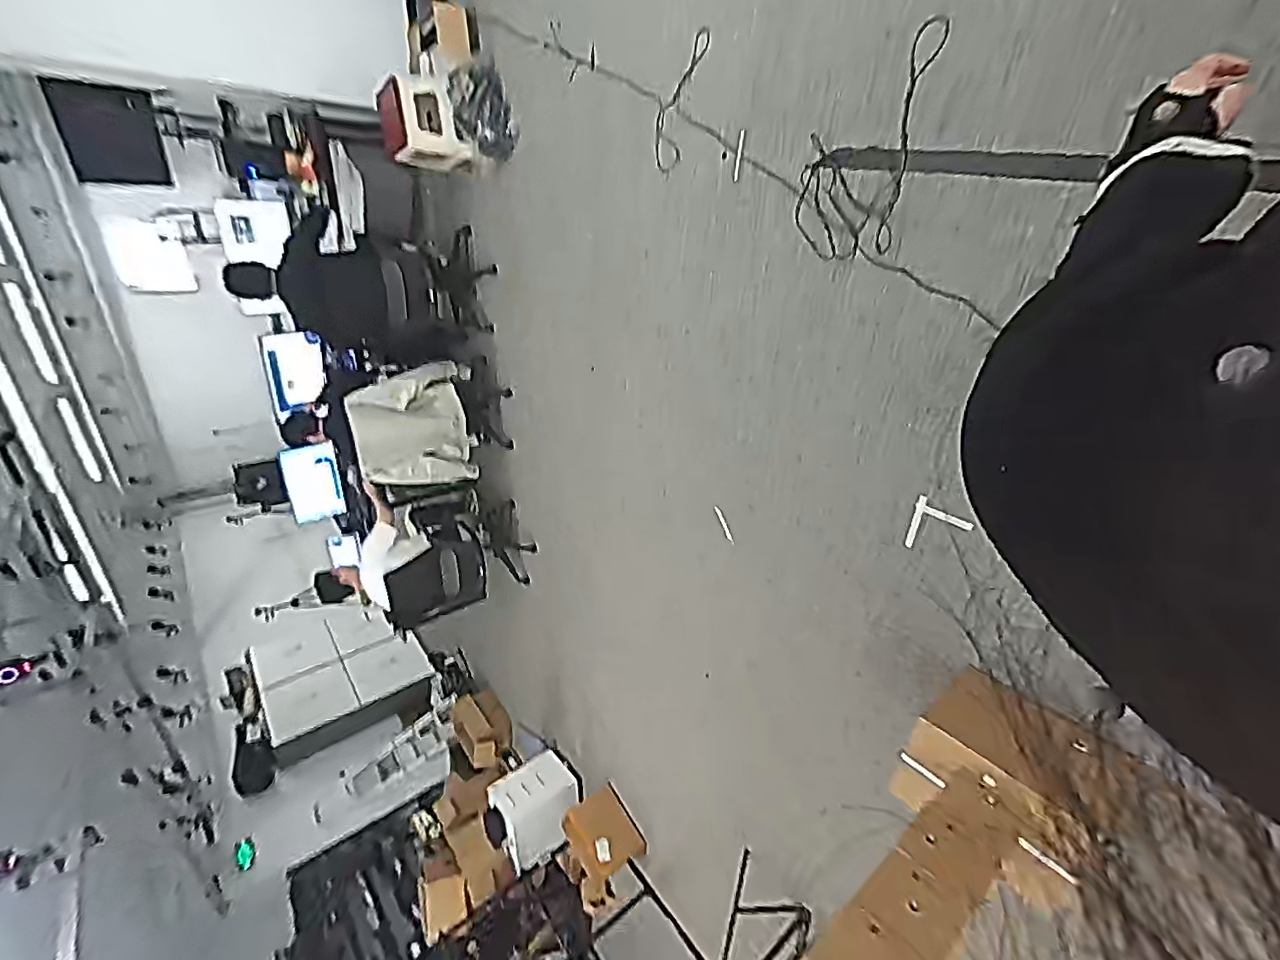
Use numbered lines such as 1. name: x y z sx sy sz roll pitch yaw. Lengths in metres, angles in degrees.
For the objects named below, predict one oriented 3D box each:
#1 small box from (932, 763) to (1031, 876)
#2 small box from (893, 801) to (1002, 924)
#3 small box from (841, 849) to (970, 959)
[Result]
1. small box: 0.788 0.825 1.281 0.168 0.176 0.179 30 126 43
2. small box: 0.660 0.858 1.187 0.168 0.176 0.179 29 127 45
3. small box: 0.536 0.904 1.090 0.168 0.176 0.179 25 123 47
